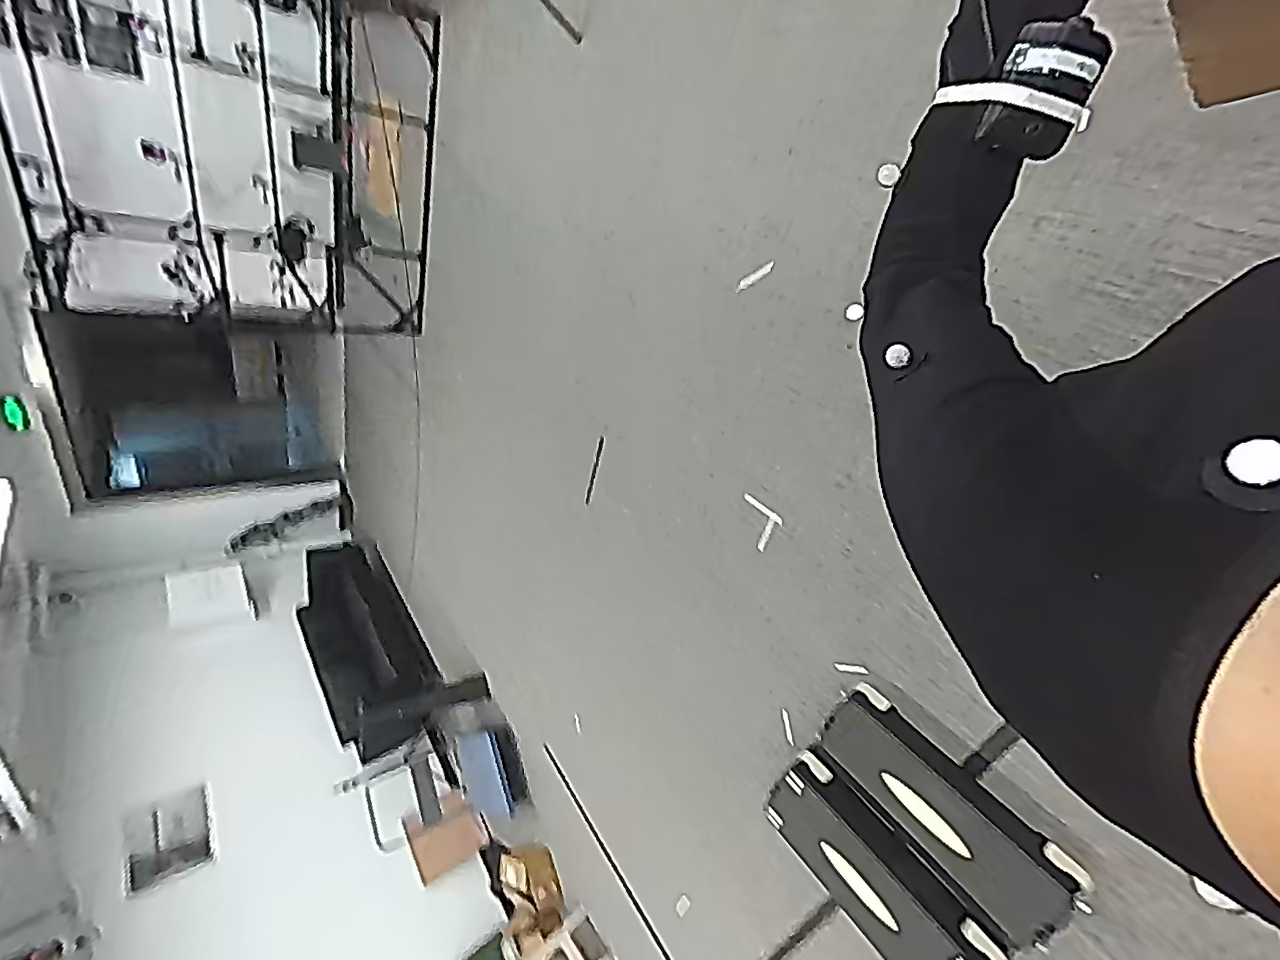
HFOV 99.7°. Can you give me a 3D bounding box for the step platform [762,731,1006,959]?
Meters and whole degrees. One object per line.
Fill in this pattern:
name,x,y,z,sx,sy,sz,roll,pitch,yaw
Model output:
step platform,0.699,1.145,1.658,0.684,0.204,0.286,41,127,40
